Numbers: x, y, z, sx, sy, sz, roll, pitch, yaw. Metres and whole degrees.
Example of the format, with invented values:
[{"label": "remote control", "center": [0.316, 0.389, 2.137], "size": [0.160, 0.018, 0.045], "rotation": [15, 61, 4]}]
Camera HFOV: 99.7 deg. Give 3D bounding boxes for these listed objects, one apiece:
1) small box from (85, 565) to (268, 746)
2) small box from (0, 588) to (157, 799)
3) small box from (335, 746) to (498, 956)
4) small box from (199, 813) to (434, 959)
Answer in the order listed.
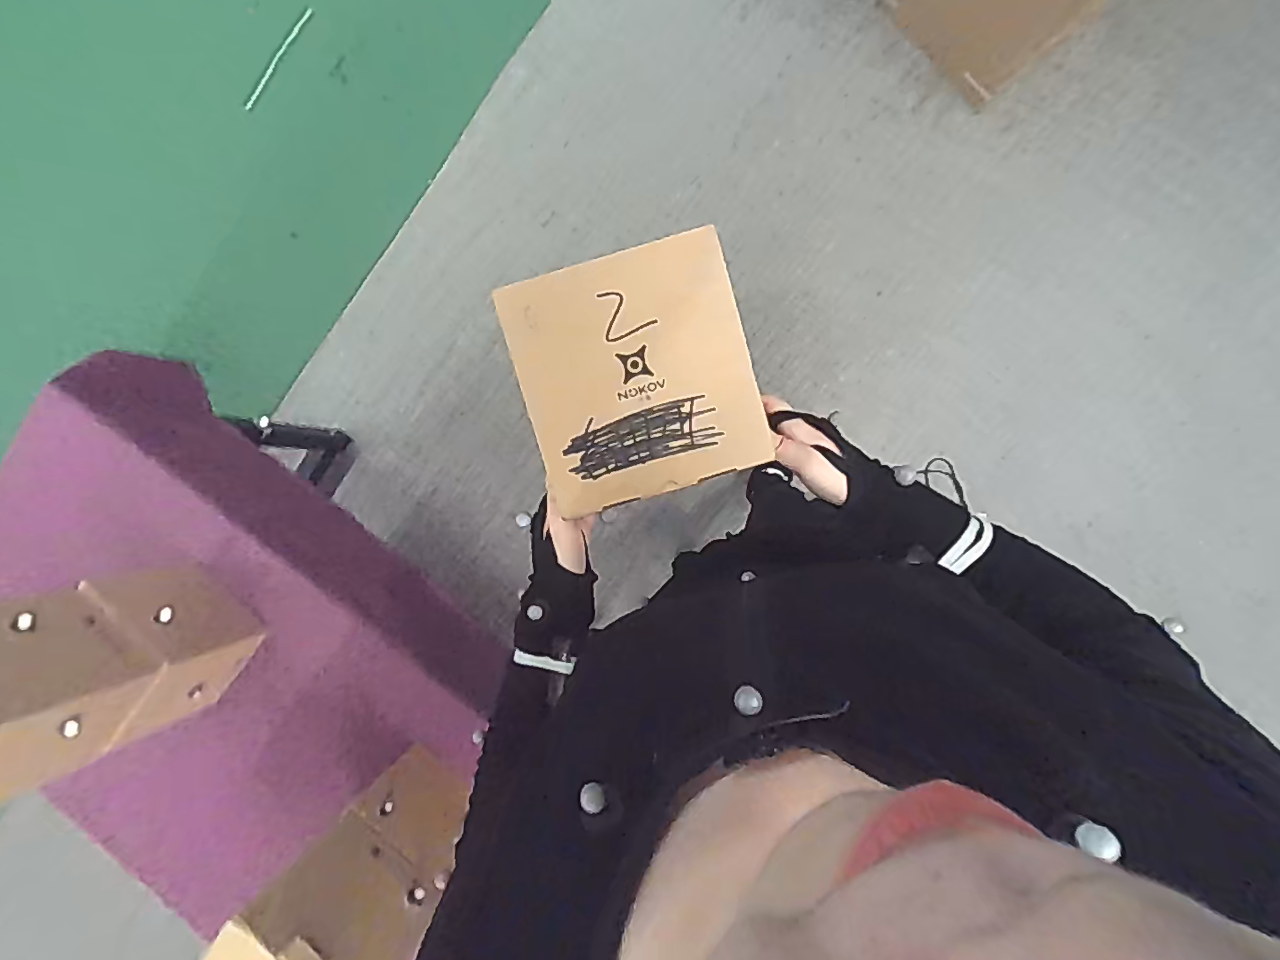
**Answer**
[{"label": "small box", "center": [-0.723, 0.248, 0.819], "size": [0.179, 0.176, 0.168], "rotation": [41, 96, 6]}, {"label": "small box", "center": [-0.753, 0.257, 0.658], "size": [0.168, 0.176, 0.179], "rotation": [40, 97, 7]}, {"label": "small box", "center": [-0.334, 0.520, 0.762], "size": [0.179, 0.176, 0.168], "rotation": [36, 96, 8]}, {"label": "small box", "center": [-0.362, 0.525, 0.601], "size": [0.168, 0.176, 0.179], "rotation": [36, 97, 8]}]
